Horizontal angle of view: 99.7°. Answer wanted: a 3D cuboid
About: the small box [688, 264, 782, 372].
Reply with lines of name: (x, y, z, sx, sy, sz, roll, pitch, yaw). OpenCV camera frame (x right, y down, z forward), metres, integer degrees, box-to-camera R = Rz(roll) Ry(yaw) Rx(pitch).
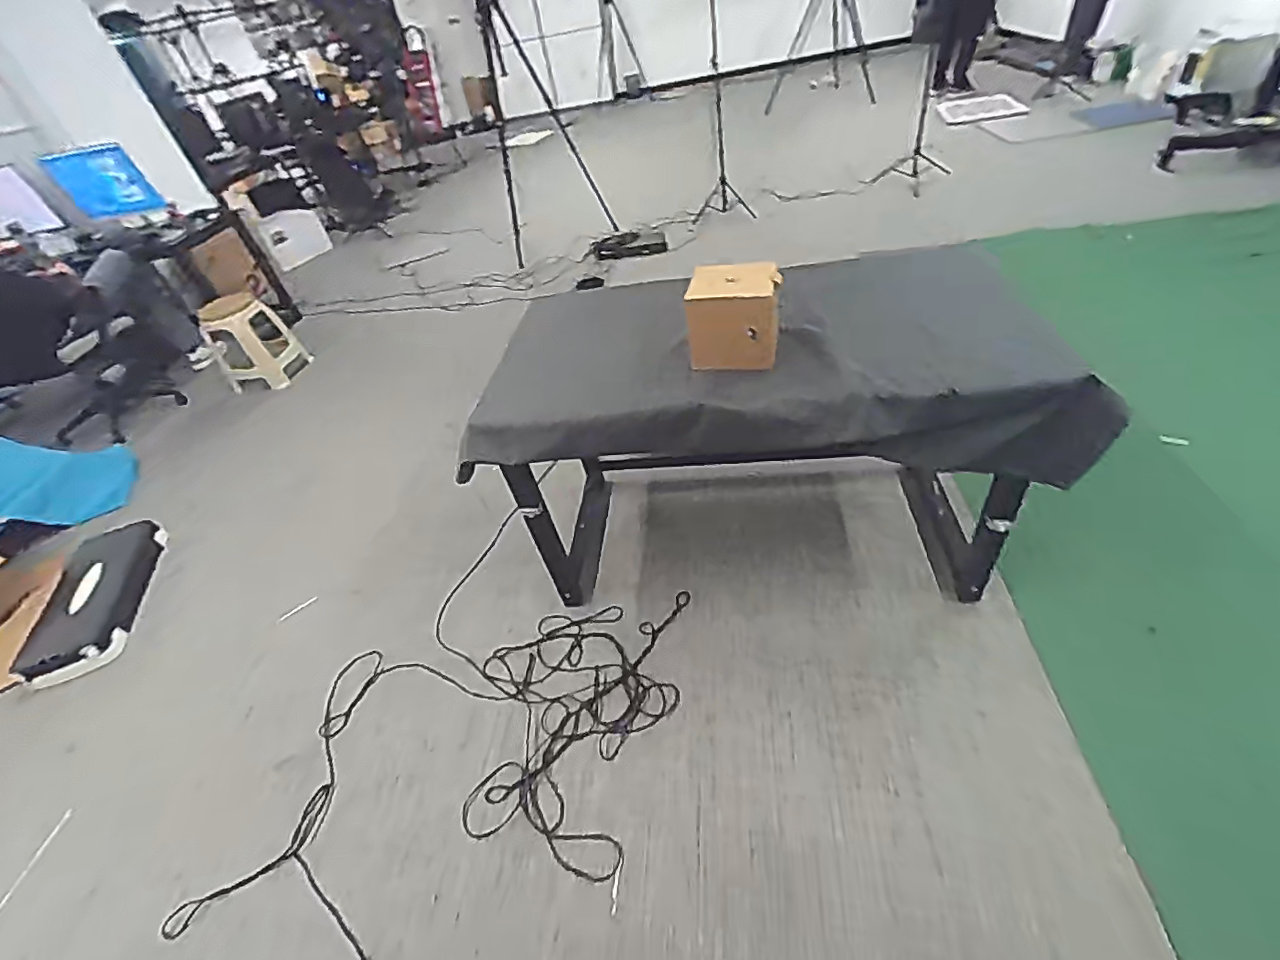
small box: (0.212, -0.345, 1.164, 0.179, 0.176, 0.168, 2, 43, 17)
